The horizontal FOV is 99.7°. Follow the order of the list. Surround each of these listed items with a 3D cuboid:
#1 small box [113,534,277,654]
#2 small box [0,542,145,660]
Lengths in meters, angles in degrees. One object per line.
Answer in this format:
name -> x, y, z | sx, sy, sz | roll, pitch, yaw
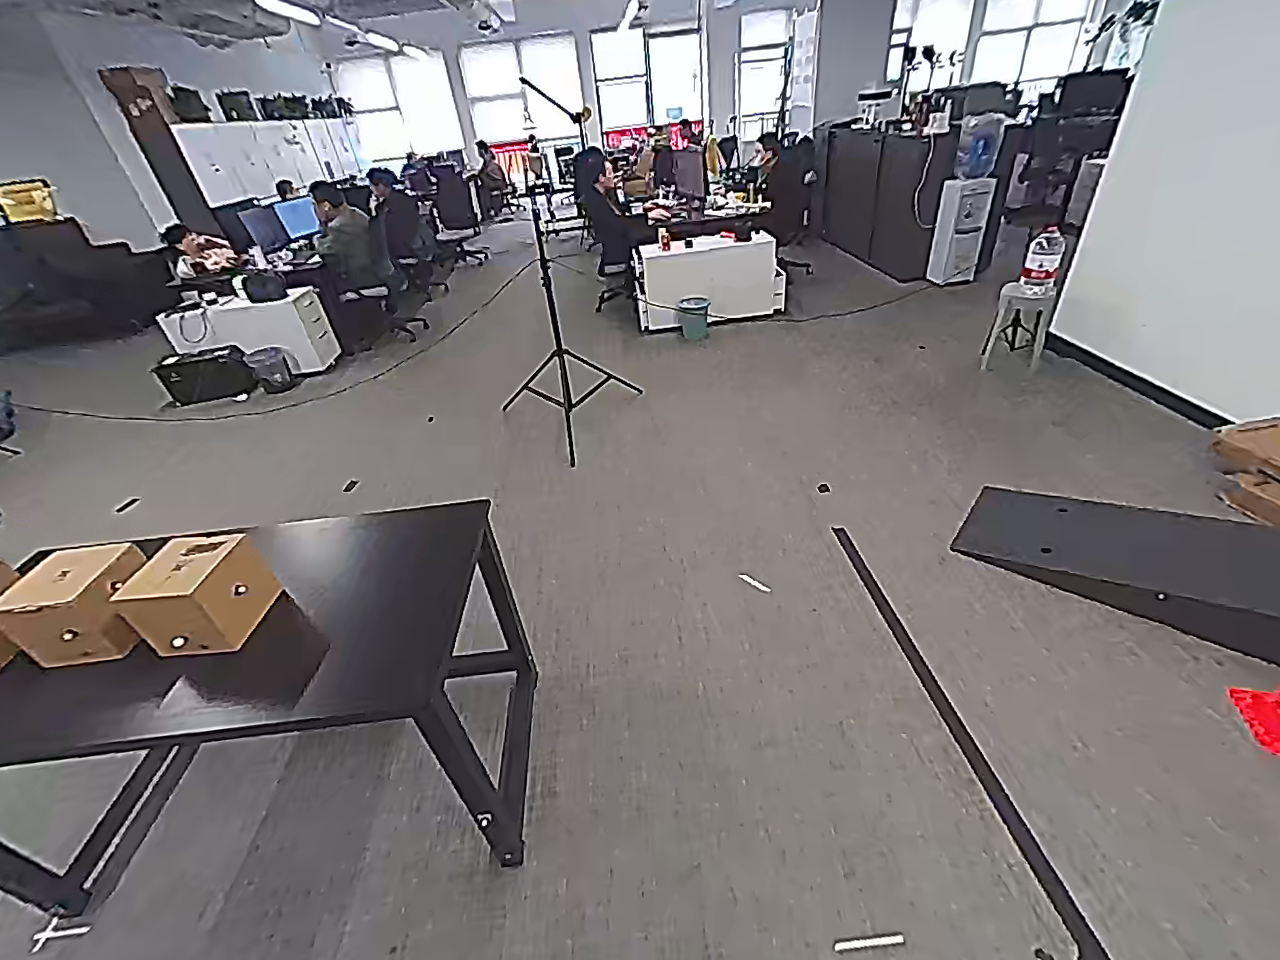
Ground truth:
small box -> -0.890, 0.232, 1.108 | 0.168, 0.176, 0.179 | -4, 35, 3
small box -> -1.138, 0.255, 1.119 | 0.168, 0.176, 0.179 | -6, 33, -1
